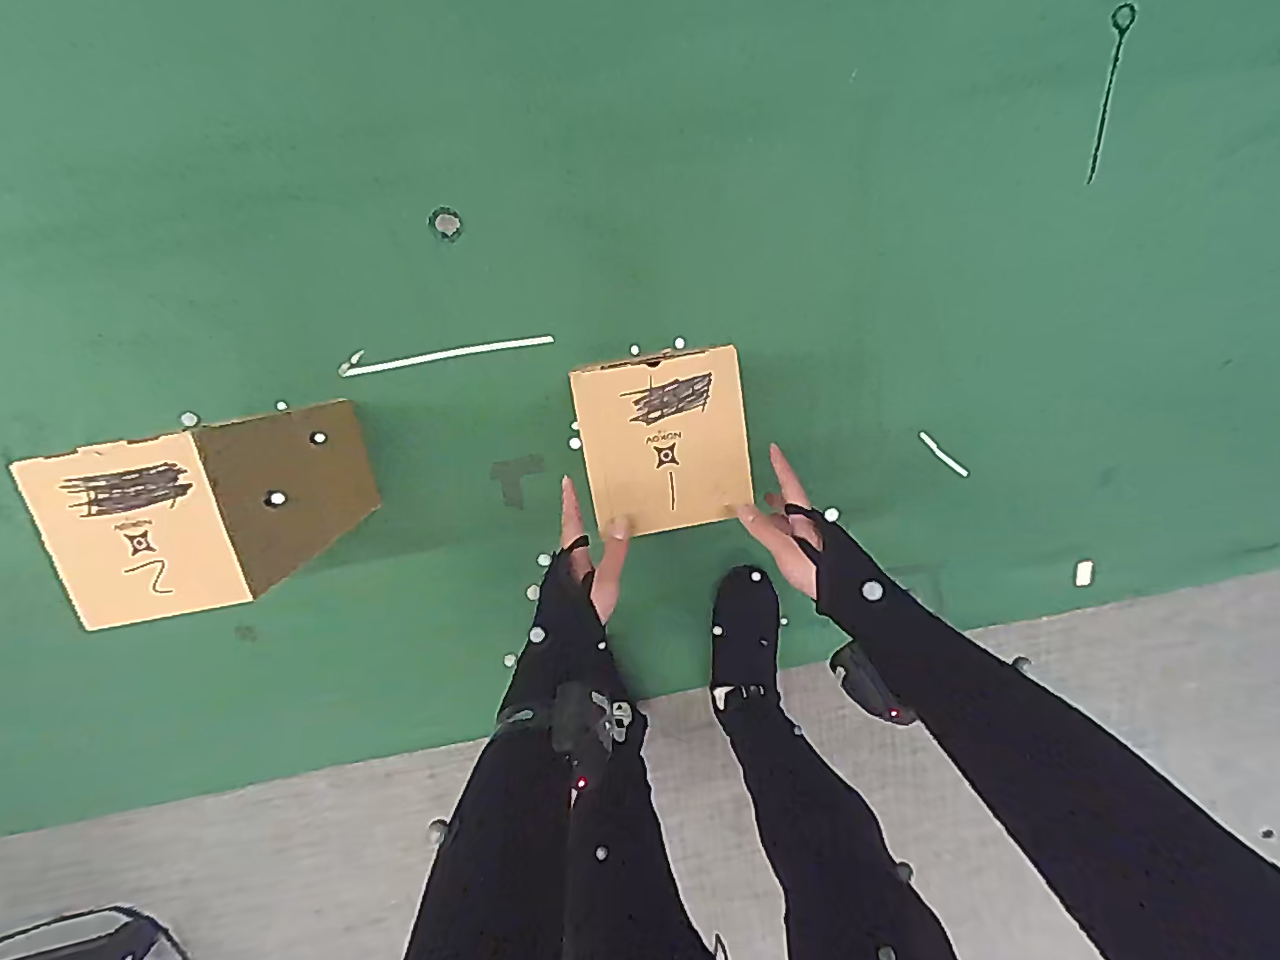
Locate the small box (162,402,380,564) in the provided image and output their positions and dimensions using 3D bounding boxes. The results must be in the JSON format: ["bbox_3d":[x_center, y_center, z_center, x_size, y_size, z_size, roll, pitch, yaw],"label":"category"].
[{"bbox_3d":[-0.487,-0.005,0.748,0.168,0.176,0.179,-10,103,-2],"label":"small box"}]

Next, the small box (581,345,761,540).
[{"bbox_3d":[0.026,-0.051,0.613,0.168,0.176,0.179,-10,104,-3],"label":"small box"}]
